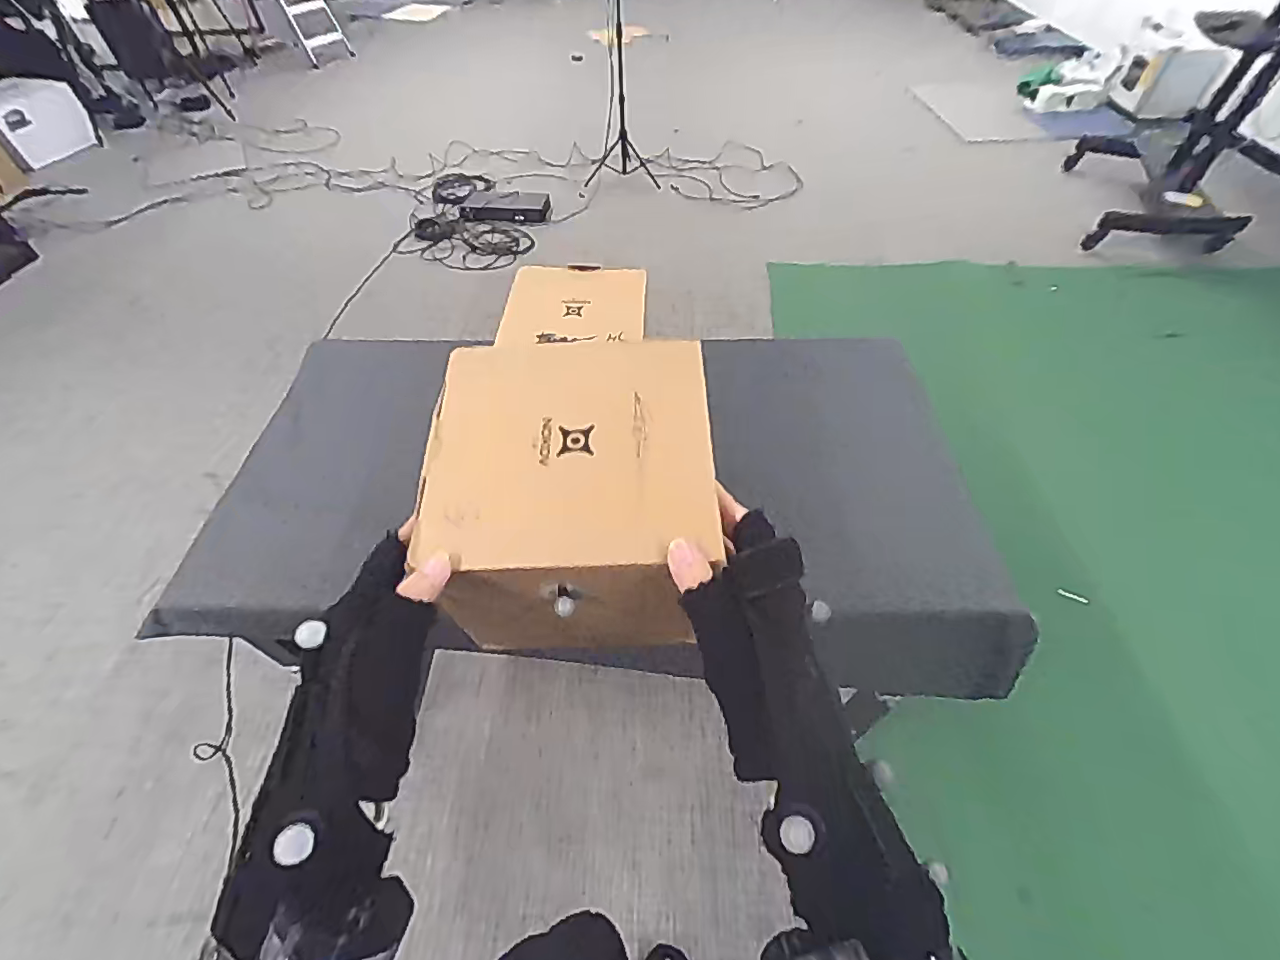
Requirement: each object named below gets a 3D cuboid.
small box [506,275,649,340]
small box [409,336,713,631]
[{"bbox_3d":[-0.072,-0.146,0.711,0.168,0.176,0.179,0,51,0],"label":"small box"},{"bbox_3d":[-0.044,0.012,0.412,0.179,0.176,0.168,-1,59,0],"label":"small box"}]
